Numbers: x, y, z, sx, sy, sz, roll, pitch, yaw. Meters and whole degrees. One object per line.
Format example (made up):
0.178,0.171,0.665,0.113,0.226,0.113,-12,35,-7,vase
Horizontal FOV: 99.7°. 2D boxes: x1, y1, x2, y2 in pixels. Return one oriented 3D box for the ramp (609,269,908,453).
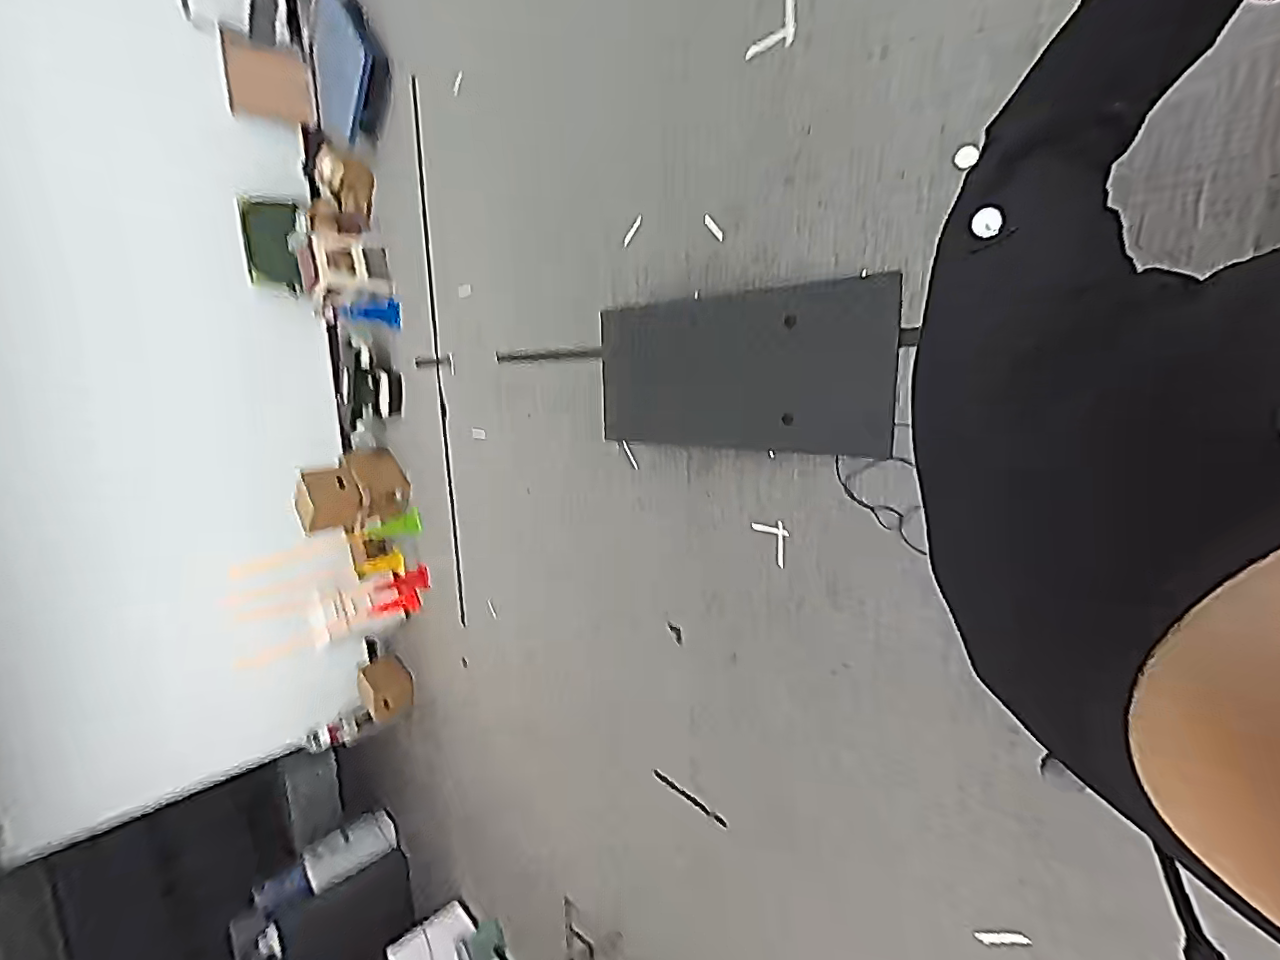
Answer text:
0.299,-0.358,1.731,0.991,0.206,0.509,7,102,46,ramp
